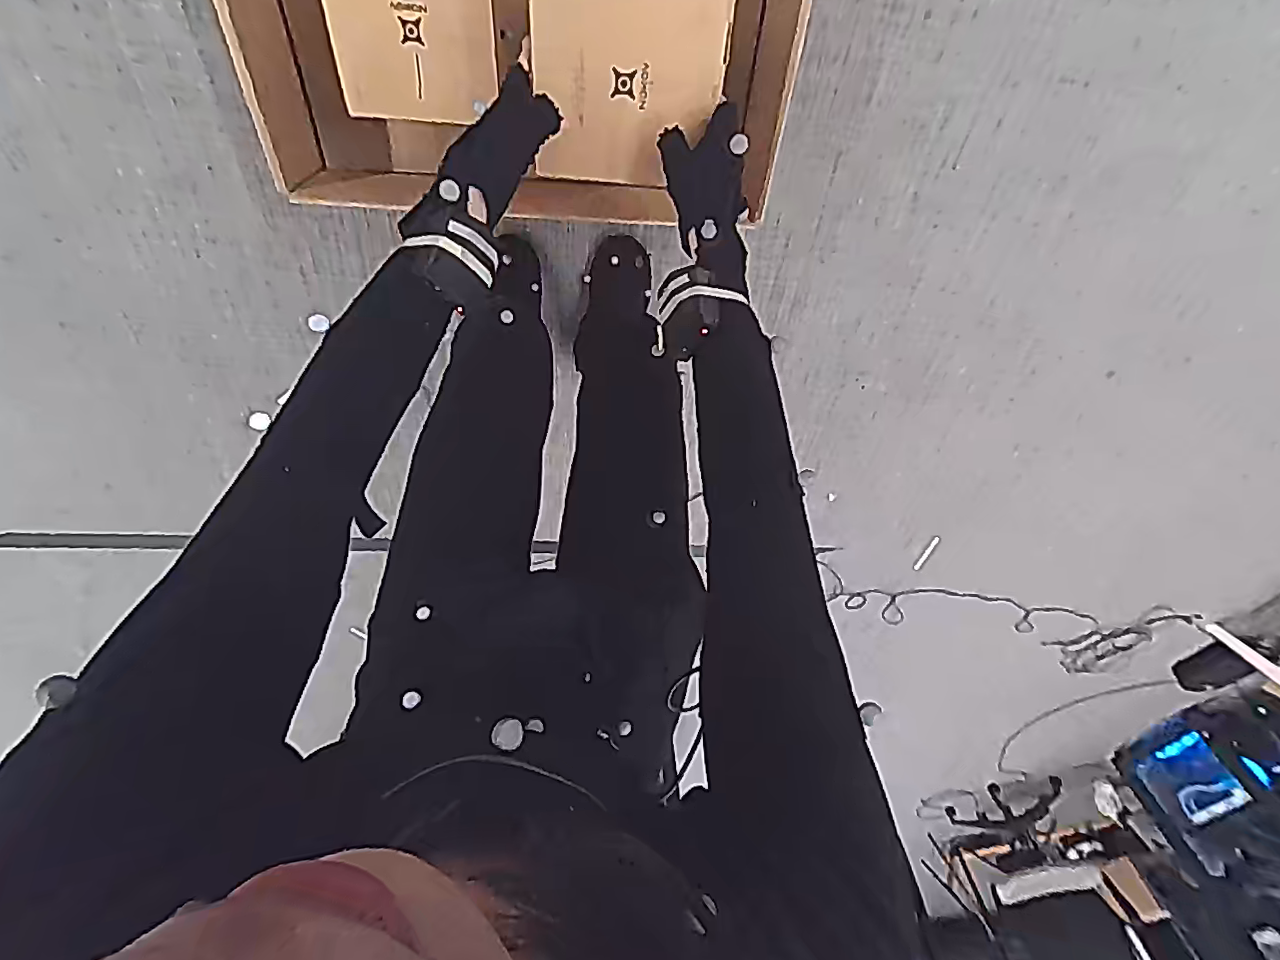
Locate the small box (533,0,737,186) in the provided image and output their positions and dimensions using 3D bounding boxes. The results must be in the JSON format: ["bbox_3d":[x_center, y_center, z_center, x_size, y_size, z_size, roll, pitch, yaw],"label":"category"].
[{"bbox_3d":[-0.015,-0.420,0.555,0.179,0.176,0.168,2,131,-6],"label":"small box"}]
